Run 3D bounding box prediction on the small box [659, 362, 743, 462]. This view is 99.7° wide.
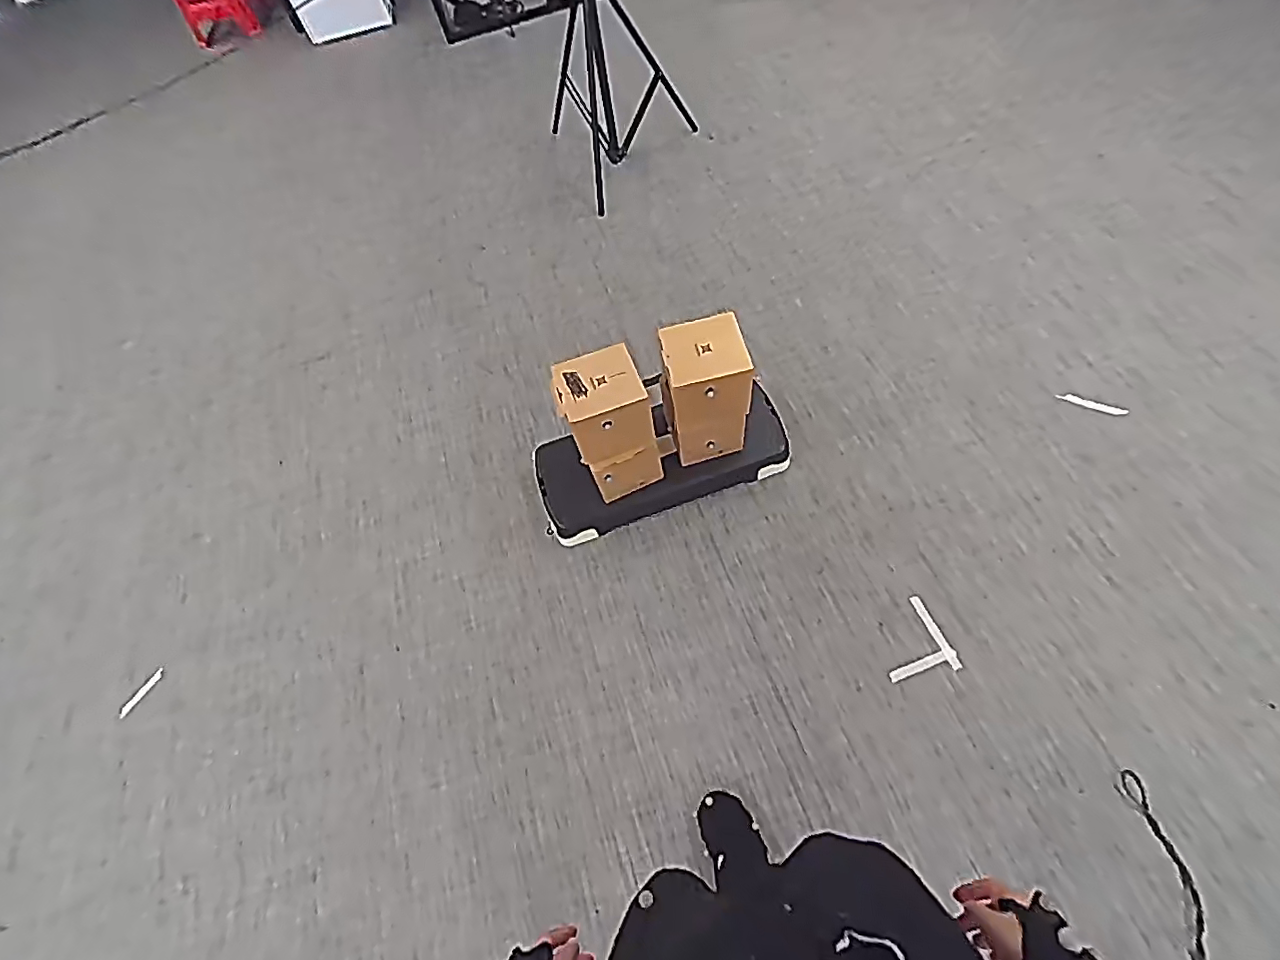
[{"bbox_3d":[0.154,-0.161,1.363,0.168,0.176,0.179,-16,62,0],"label":"small box"}]
